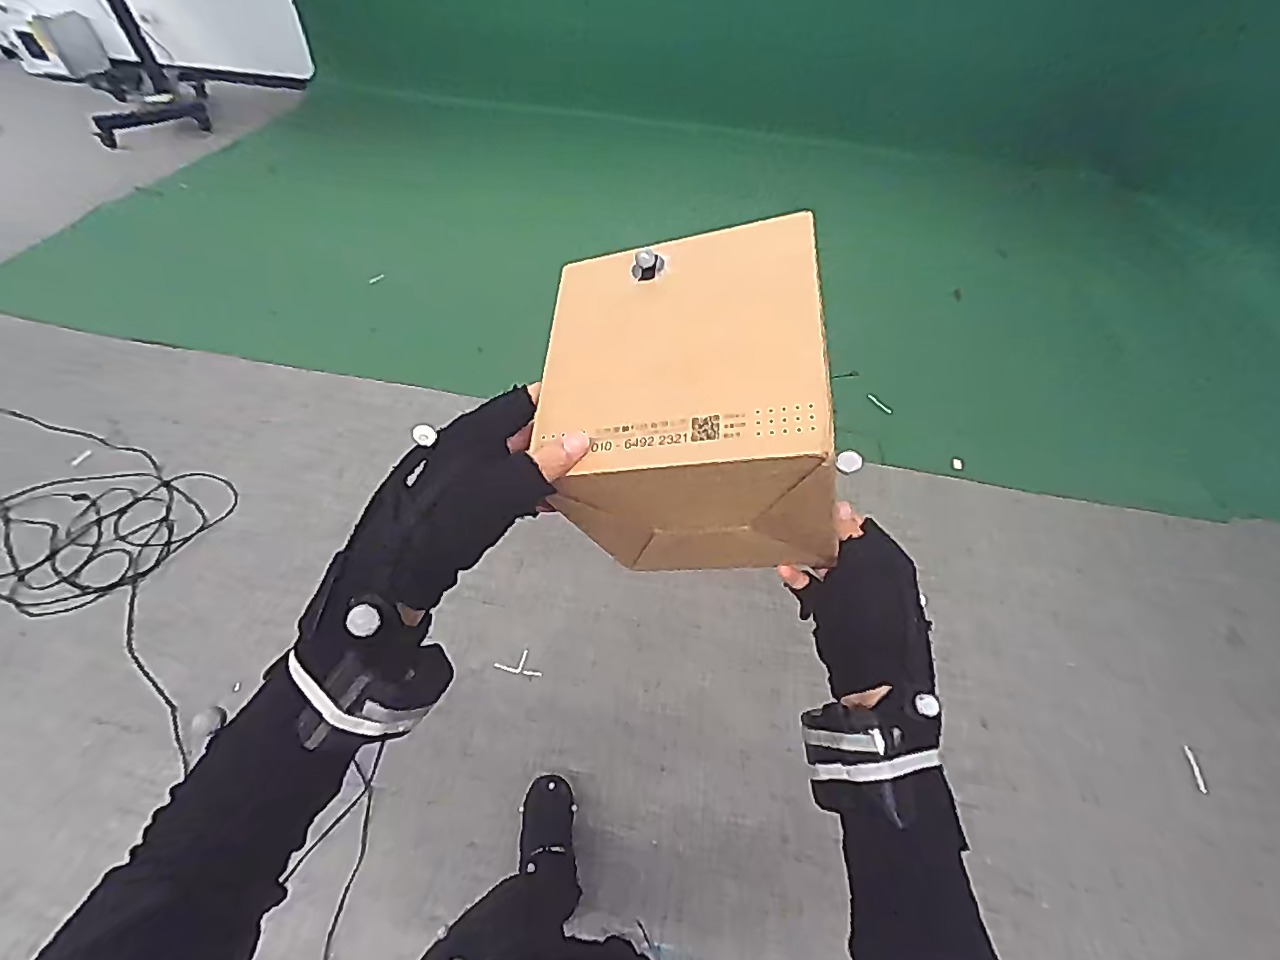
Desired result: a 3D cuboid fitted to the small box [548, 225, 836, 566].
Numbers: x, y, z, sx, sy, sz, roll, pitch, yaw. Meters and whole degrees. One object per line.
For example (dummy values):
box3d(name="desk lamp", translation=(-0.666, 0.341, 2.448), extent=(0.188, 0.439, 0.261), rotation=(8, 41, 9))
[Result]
box3d(name="small box", translation=(0.047, -0.041, 0.393), extent=(0.168, 0.179, 0.176), rotation=(-5, 62, 18))
